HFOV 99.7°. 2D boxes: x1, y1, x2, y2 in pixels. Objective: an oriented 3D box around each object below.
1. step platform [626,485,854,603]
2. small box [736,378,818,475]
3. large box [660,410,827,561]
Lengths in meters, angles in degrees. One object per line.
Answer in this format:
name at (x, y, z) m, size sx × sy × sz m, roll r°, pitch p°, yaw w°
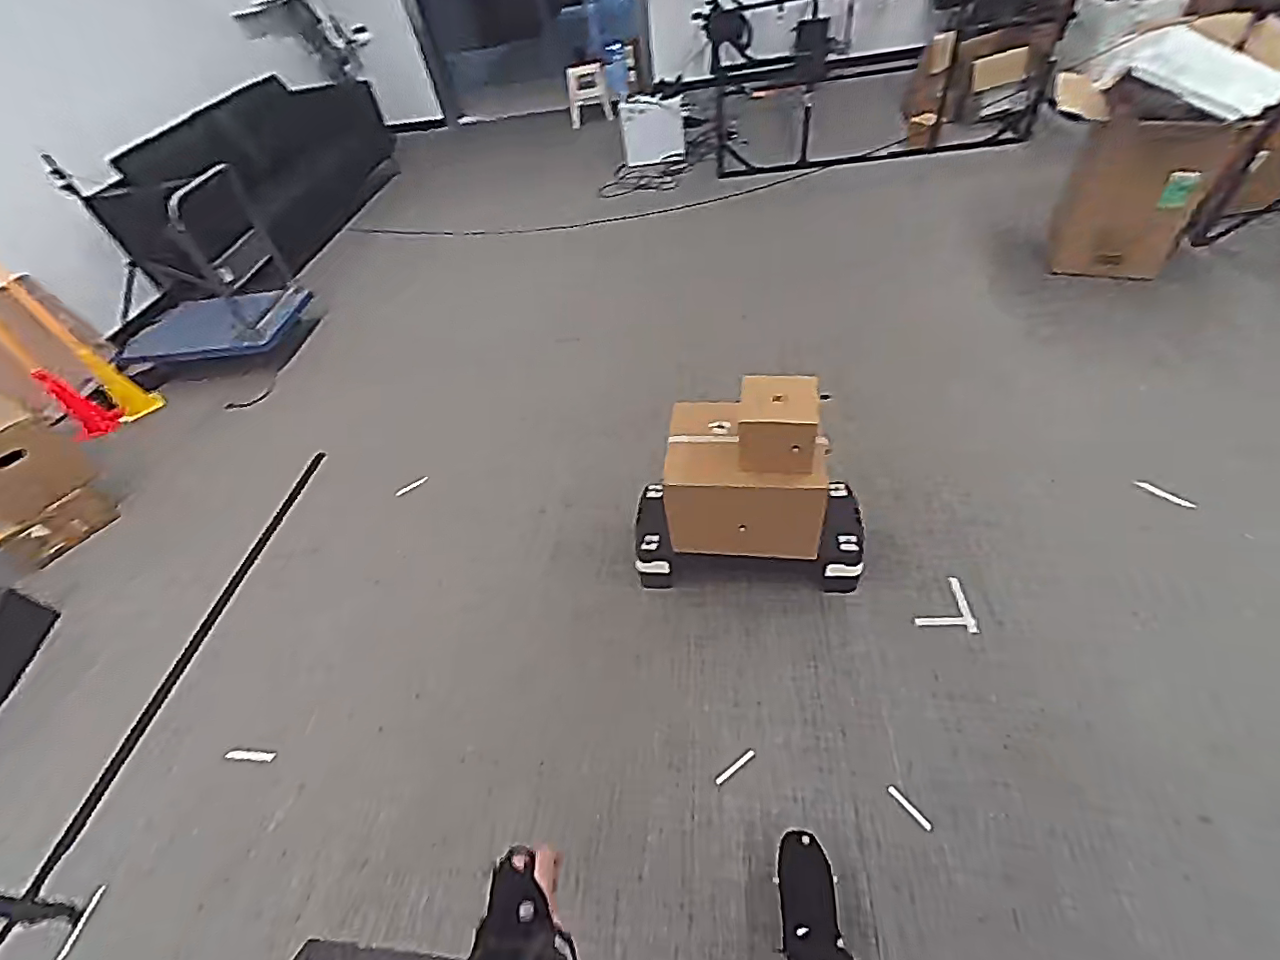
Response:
step platform at (0.302, 0.184, 1.682) m, size 0.684 × 0.204 × 0.286 m, roll 2°, pitch 49°, yaw 14°
small box at (0.327, -0.127, 1.299) m, size 0.179 × 0.176 × 0.168 m, roll 3°, pitch 49°, yaw 14°
large box at (0.288, 0.016, 1.511) m, size 0.408 × 0.320 × 0.320 m, roll 0°, pitch 48°, yaw 12°
